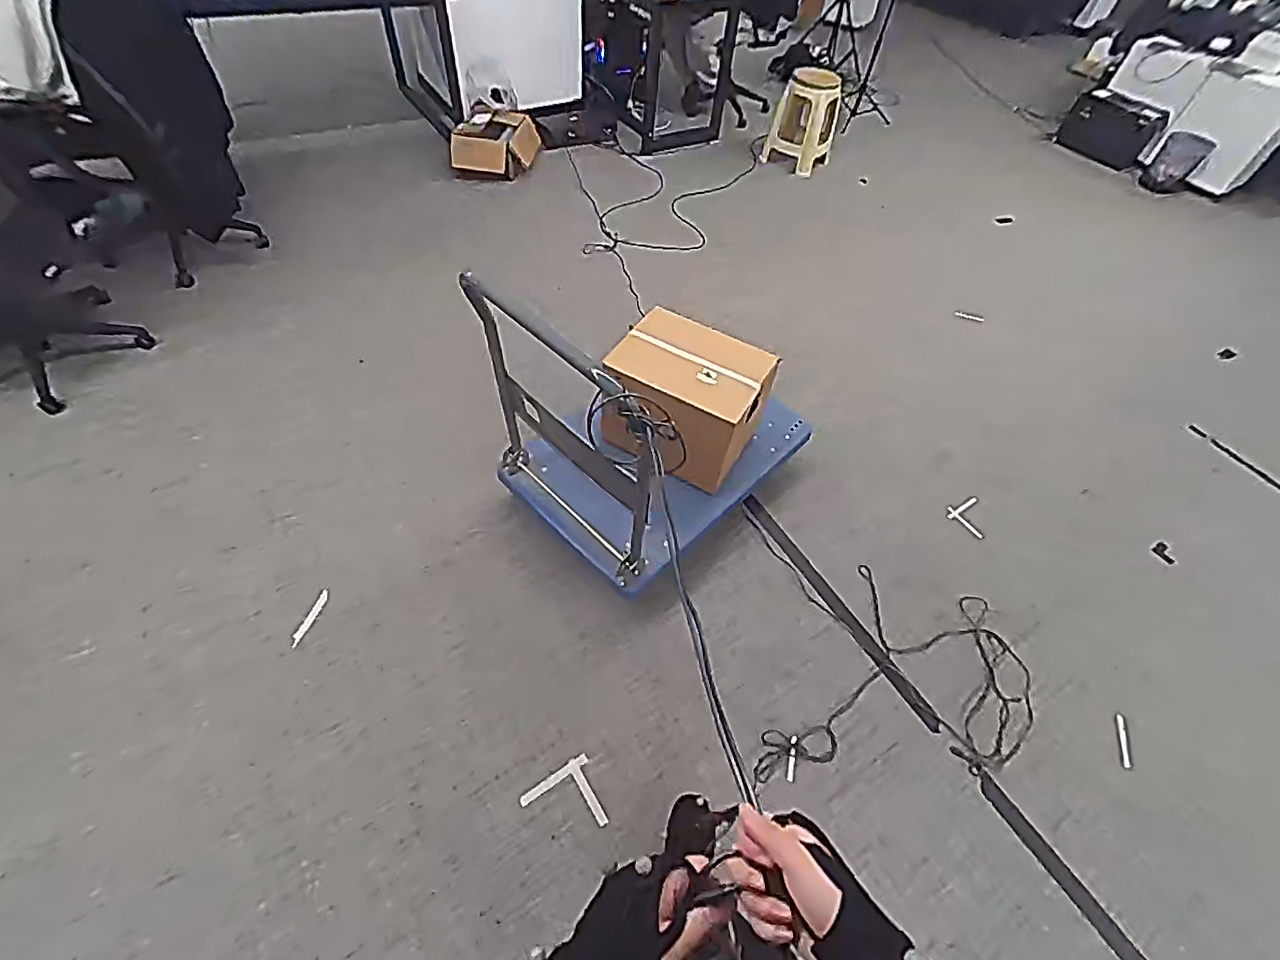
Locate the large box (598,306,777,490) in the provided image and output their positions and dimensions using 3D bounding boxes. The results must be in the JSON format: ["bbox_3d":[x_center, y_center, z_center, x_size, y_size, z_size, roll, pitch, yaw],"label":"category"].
[{"bbox_3d":[0.125,-0.241,1.590,0.408,0.320,0.320,27,57,13],"label":"large box"}]
